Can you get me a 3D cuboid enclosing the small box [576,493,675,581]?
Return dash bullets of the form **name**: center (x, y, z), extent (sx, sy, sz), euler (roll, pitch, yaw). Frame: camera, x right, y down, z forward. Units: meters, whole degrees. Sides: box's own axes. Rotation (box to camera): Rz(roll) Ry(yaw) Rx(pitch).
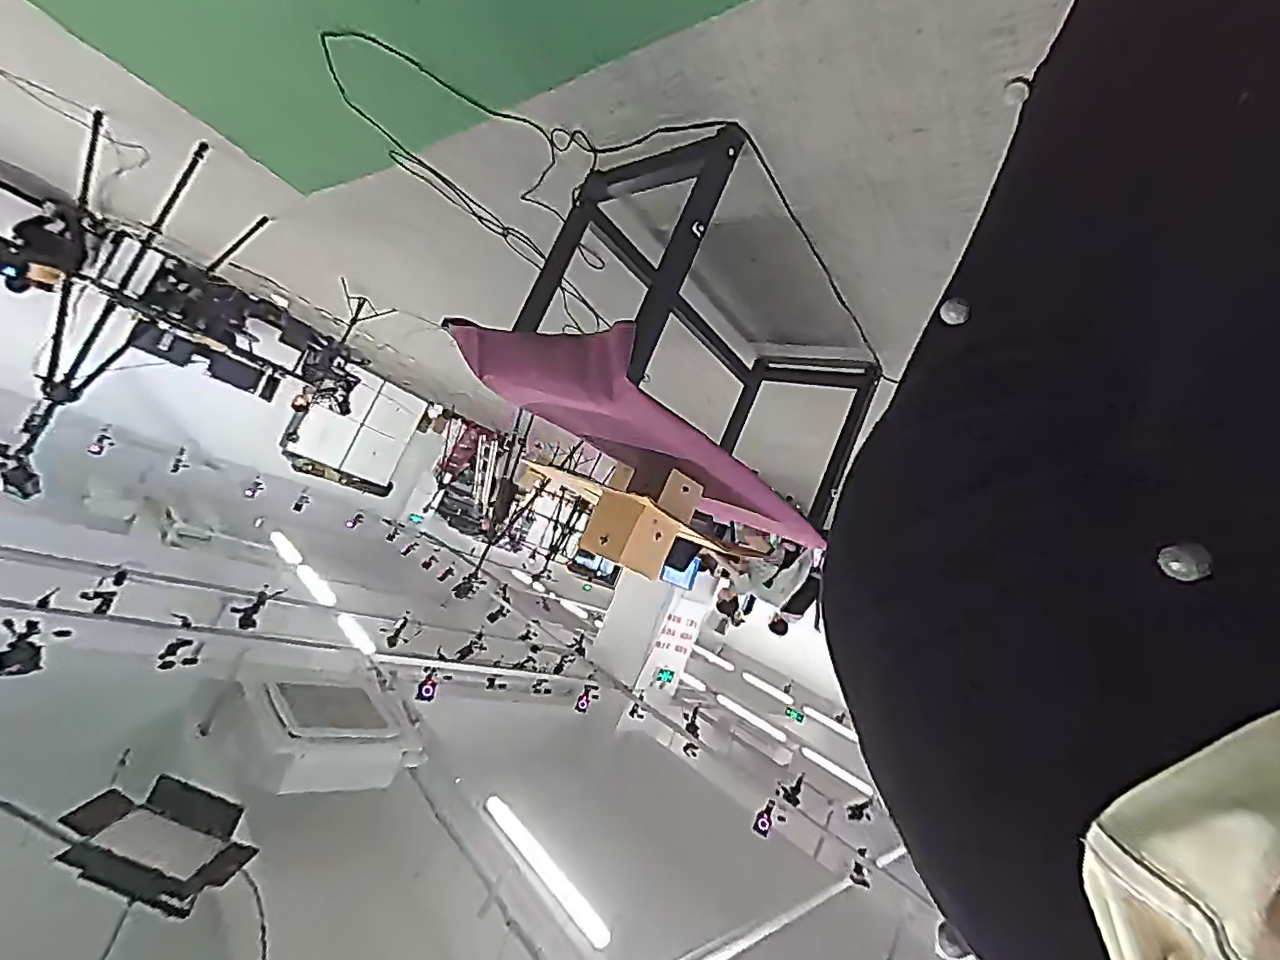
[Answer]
- **small box**: center (-0.036, 0.150, 1.469), extent (0.179, 0.176, 0.168), euler (15, 166, 45)
